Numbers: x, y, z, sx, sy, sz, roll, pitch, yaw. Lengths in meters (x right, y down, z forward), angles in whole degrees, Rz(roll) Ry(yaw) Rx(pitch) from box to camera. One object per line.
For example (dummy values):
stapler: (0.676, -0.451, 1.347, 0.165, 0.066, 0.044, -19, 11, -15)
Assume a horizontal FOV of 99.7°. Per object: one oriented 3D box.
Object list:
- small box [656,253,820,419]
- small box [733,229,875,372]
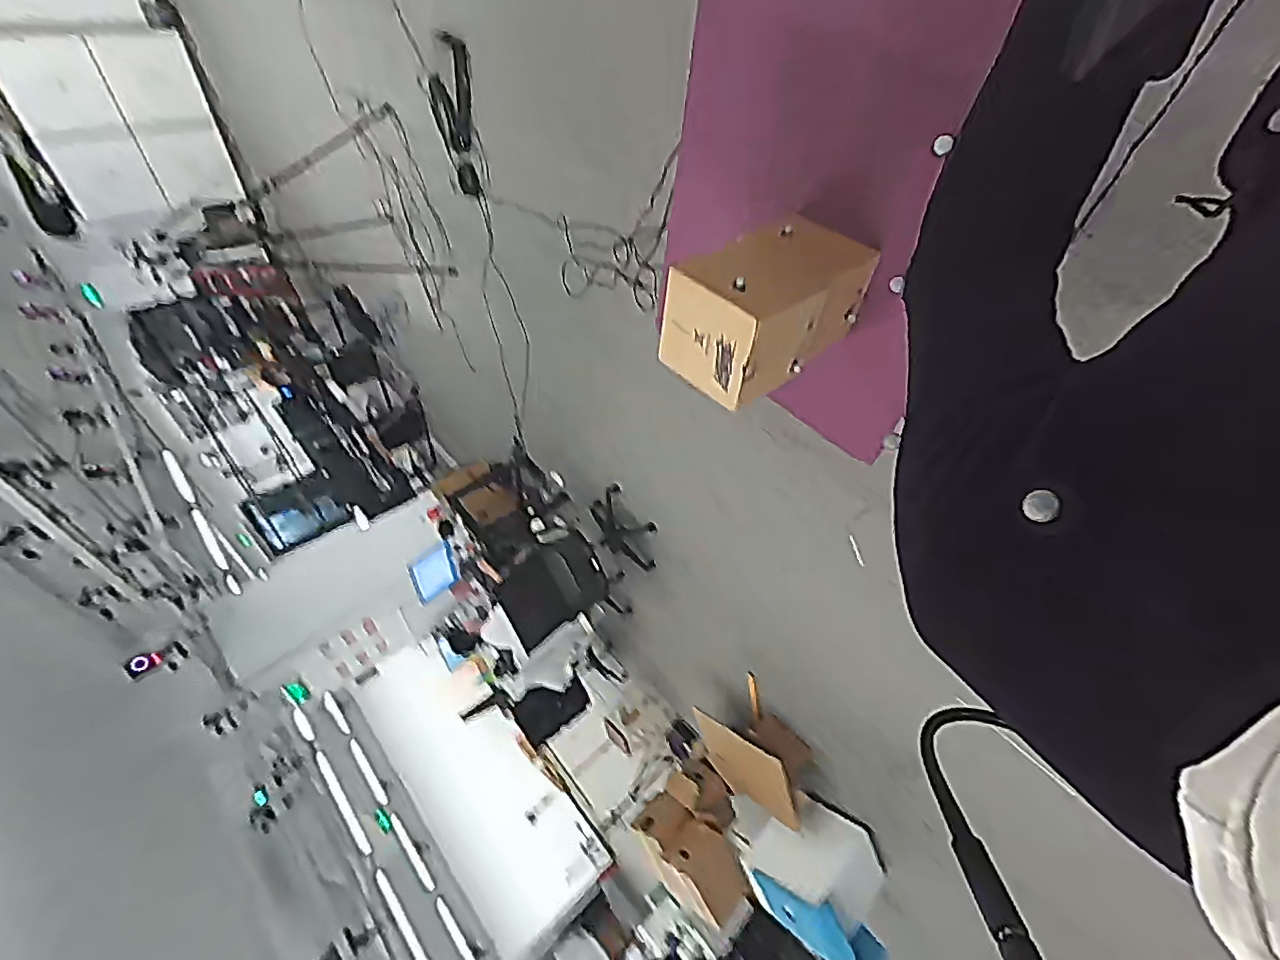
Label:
small box: (0.150, -0.232, 0.848, 0.179, 0.176, 0.168, 42, 146, 28)
small box: (0.263, -0.313, 0.933, 0.179, 0.176, 0.168, 41, 146, 27)
